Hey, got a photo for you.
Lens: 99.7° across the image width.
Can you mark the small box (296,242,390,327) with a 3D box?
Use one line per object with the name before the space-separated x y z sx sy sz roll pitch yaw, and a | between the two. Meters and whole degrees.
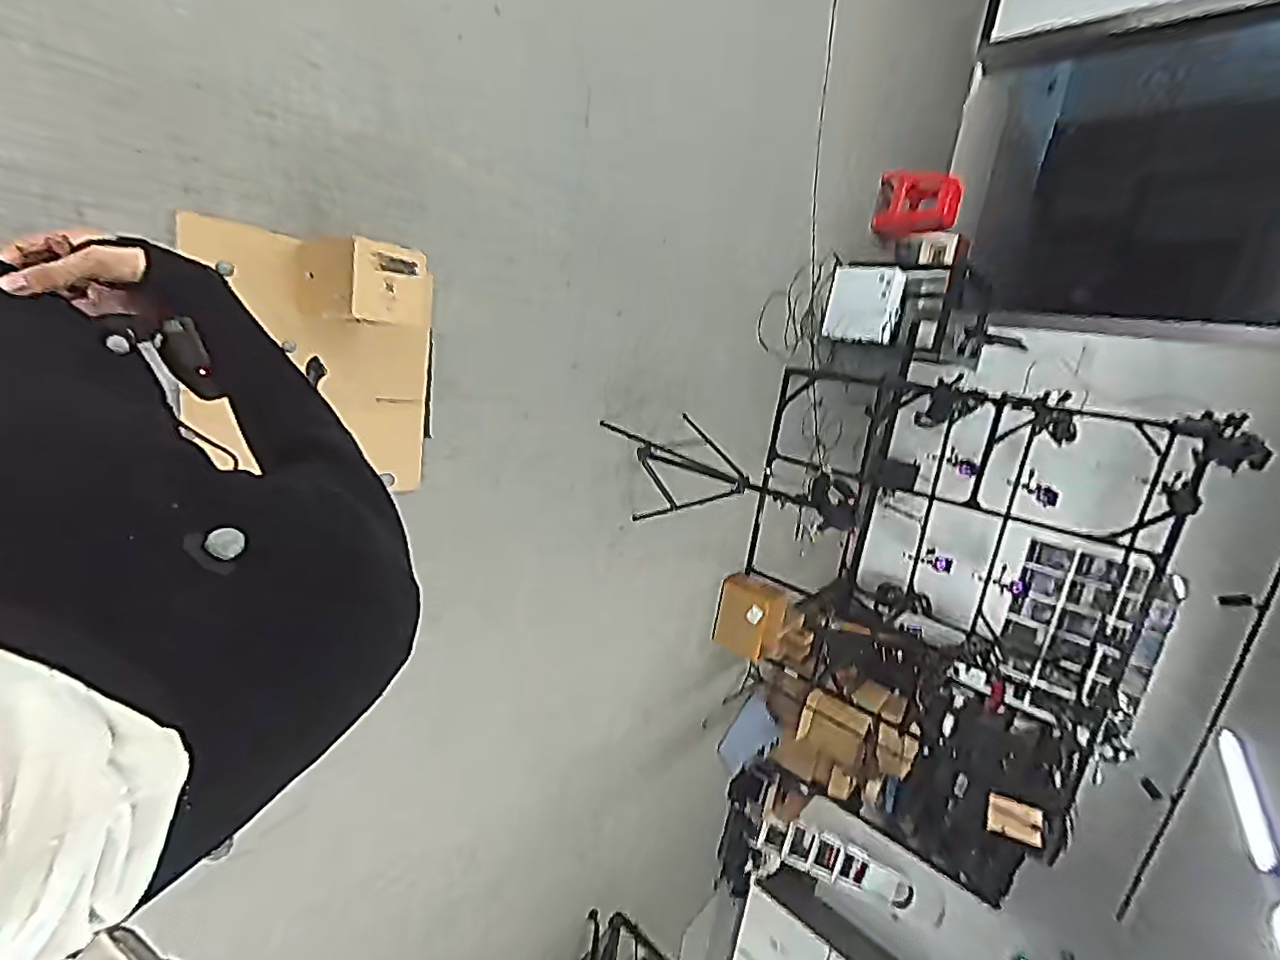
small box | -0.772 -0.504 1.403 0.168 0.176 0.179 -6 108 -49
